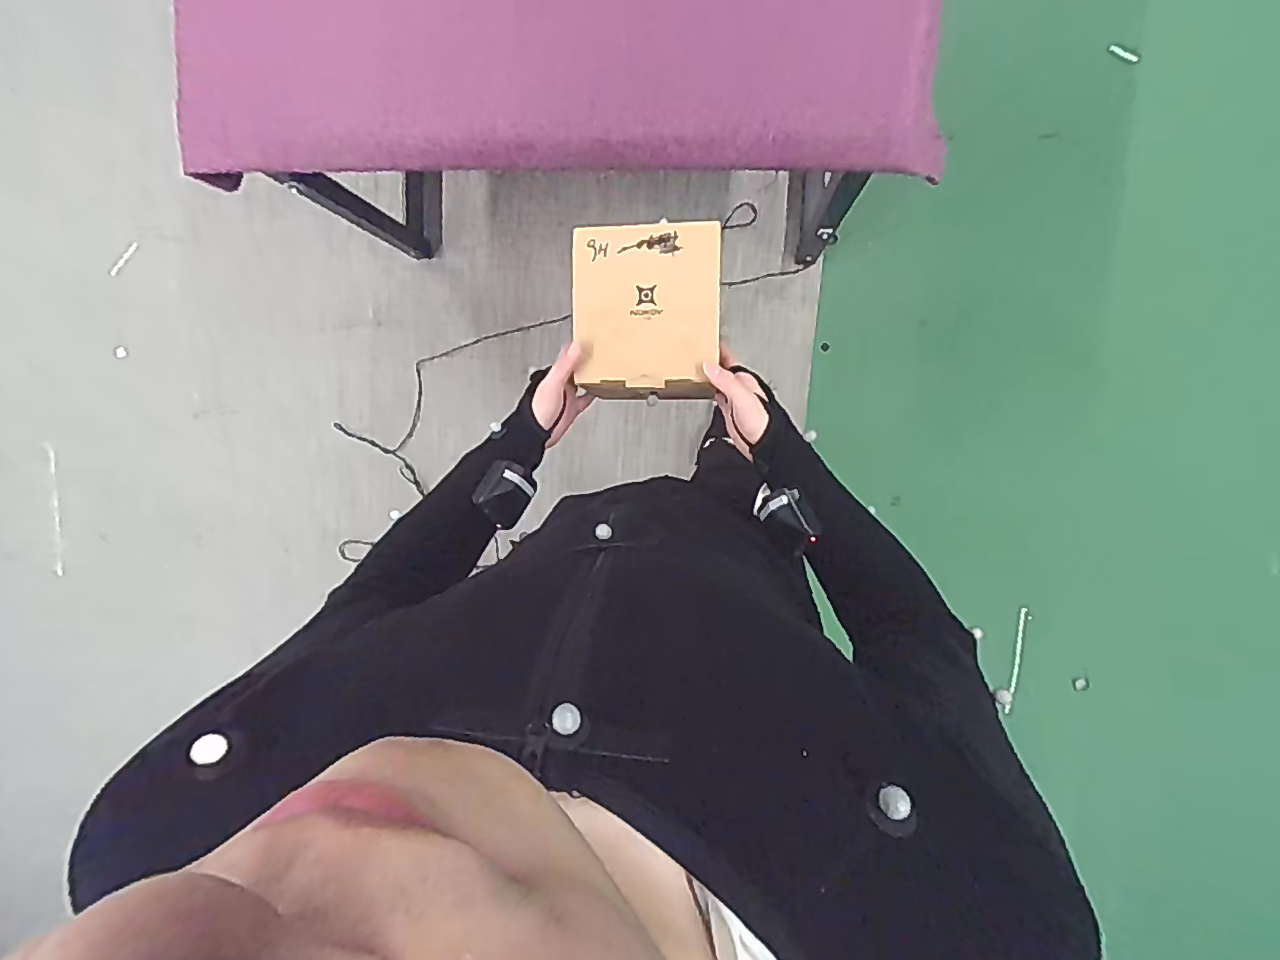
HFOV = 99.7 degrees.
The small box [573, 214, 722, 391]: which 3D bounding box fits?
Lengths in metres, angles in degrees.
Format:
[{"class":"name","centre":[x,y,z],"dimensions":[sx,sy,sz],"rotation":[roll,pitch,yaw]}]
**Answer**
[{"class":"small box","centre":[0.018,-0.204,0.673],"dimensions":[0.168,0.176,0.179],"rotation":[0,93,8]}]
